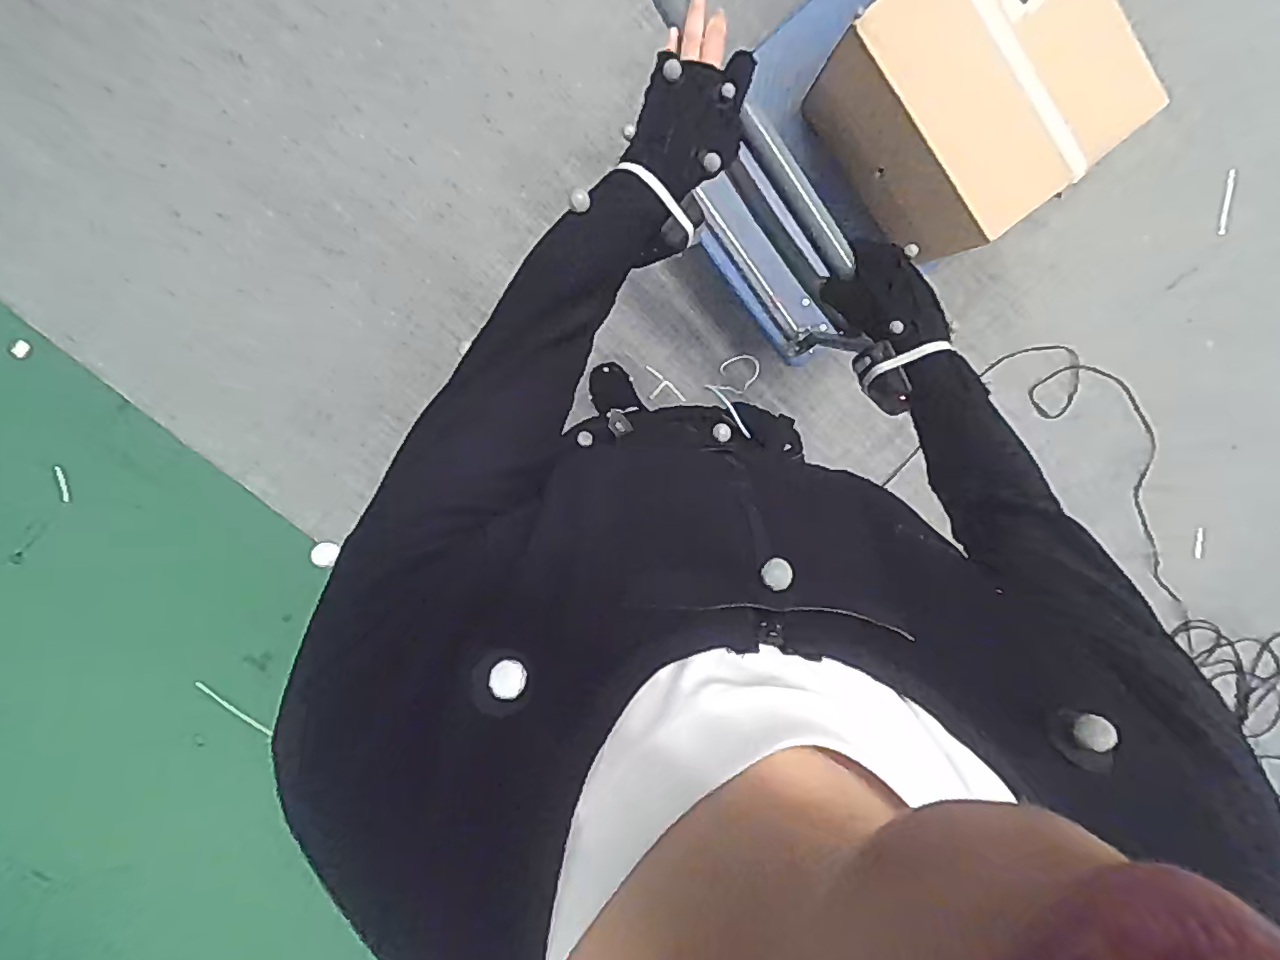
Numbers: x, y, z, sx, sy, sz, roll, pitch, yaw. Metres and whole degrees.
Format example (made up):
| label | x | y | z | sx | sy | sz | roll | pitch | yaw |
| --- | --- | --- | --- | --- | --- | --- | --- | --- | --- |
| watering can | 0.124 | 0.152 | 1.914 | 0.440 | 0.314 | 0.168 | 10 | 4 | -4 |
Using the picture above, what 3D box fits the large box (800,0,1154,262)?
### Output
| label | x | y | z | sx | sy | sz | roll | pitch | yaw |
| --- | --- | --- | --- | --- | --- | --- | --- | --- | --- |
| large box | 0.558 | -0.673 | 0.973 | 0.320 | 0.320 | 0.408 | -38 | 99 | 10 |
